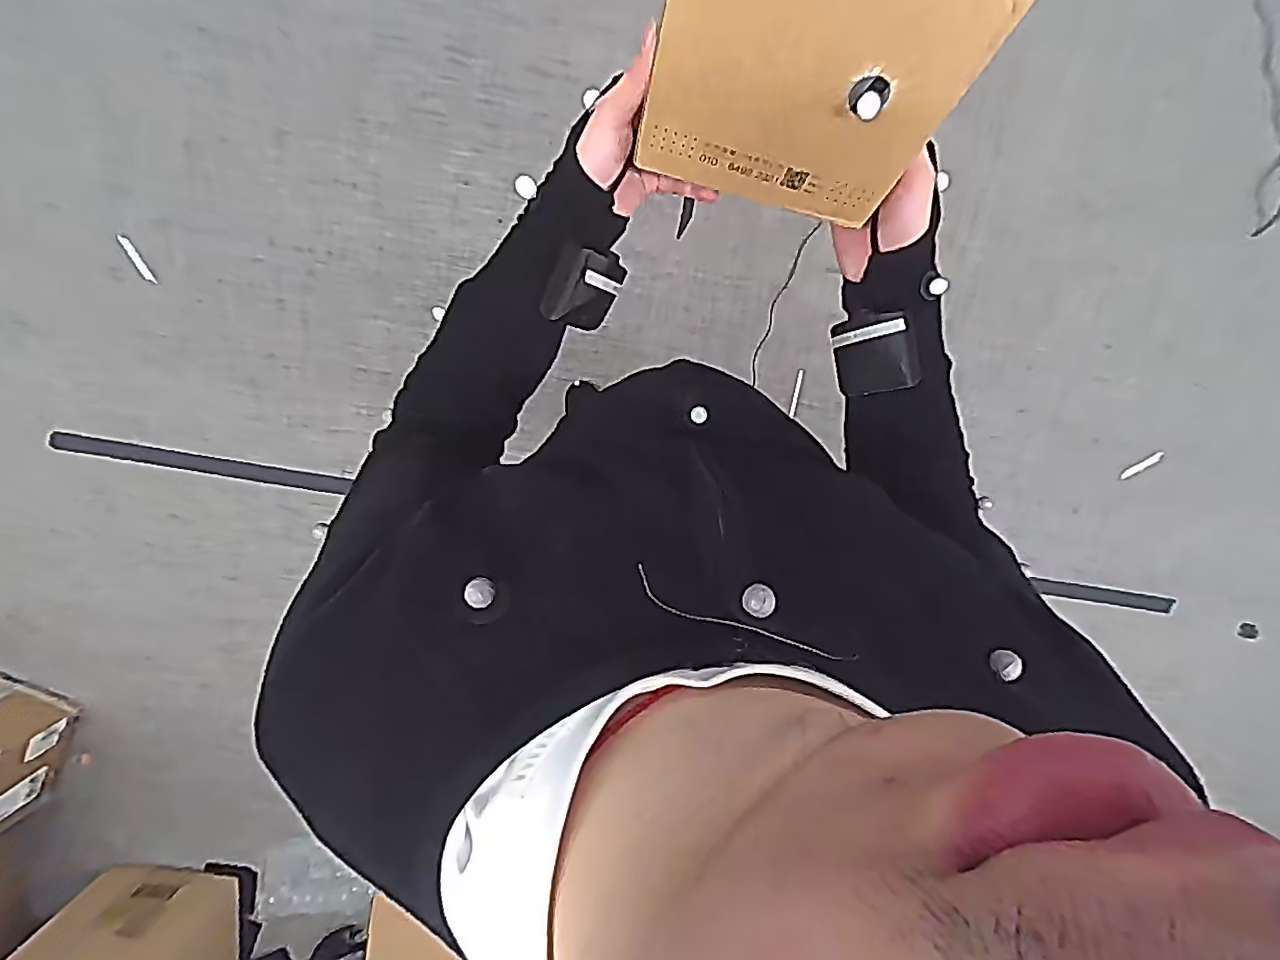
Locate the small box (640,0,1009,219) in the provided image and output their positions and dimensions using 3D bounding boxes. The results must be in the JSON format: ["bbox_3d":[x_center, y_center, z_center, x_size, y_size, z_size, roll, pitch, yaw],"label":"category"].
[{"bbox_3d":[0.102,-0.300,0.330,0.168,0.176,0.179,13,72,-8],"label":"small box"}]
